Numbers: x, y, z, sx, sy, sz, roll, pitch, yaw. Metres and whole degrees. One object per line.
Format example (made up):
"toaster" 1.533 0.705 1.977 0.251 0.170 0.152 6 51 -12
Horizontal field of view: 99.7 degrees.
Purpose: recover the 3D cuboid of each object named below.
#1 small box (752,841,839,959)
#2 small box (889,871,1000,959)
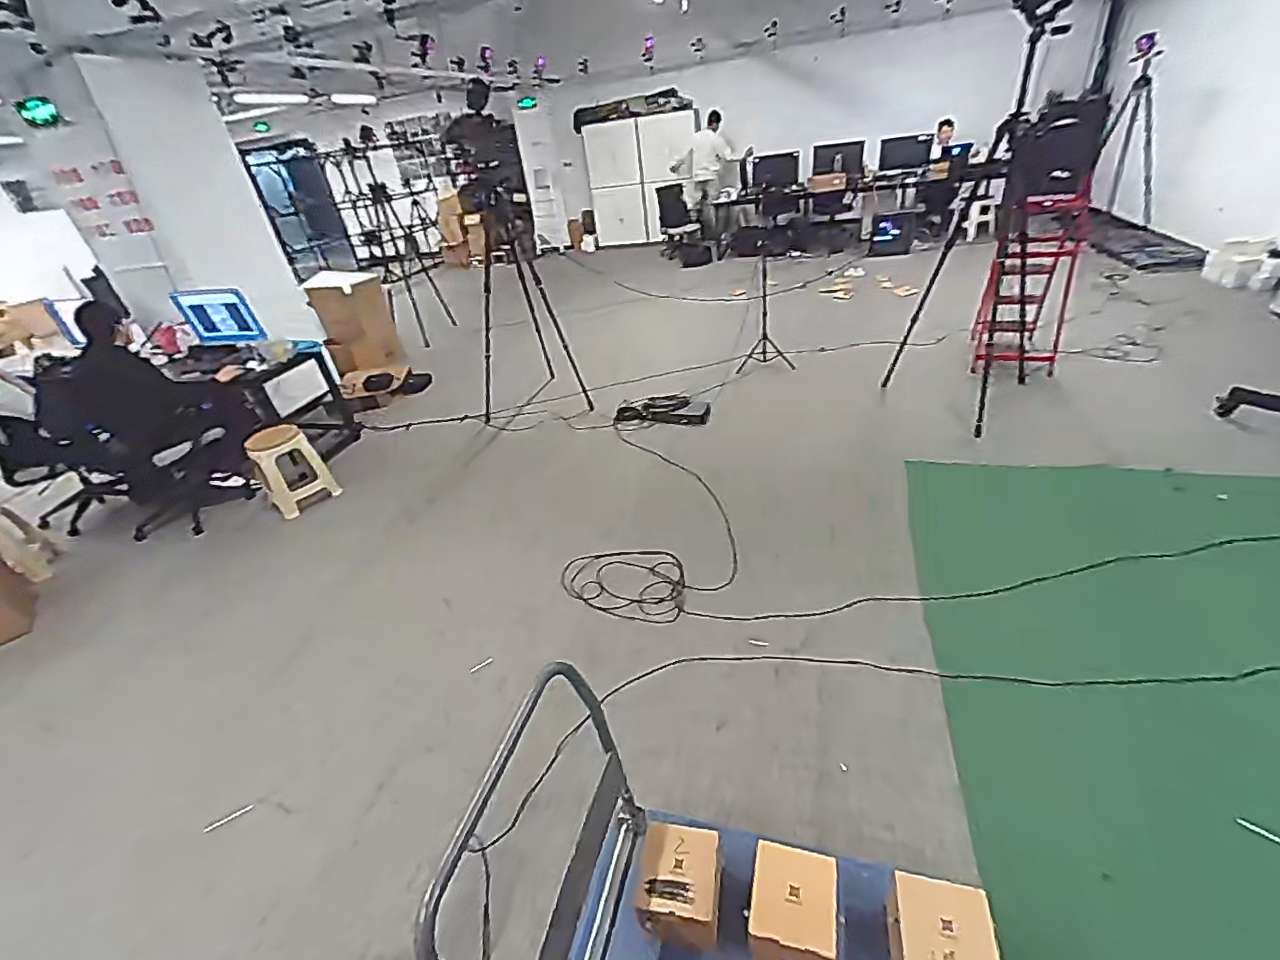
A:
"small box" 0.332 0.924 1.158 0.168 0.176 0.179 3 36 18
"small box" 0.599 0.930 1.075 0.168 0.176 0.179 1 34 18
